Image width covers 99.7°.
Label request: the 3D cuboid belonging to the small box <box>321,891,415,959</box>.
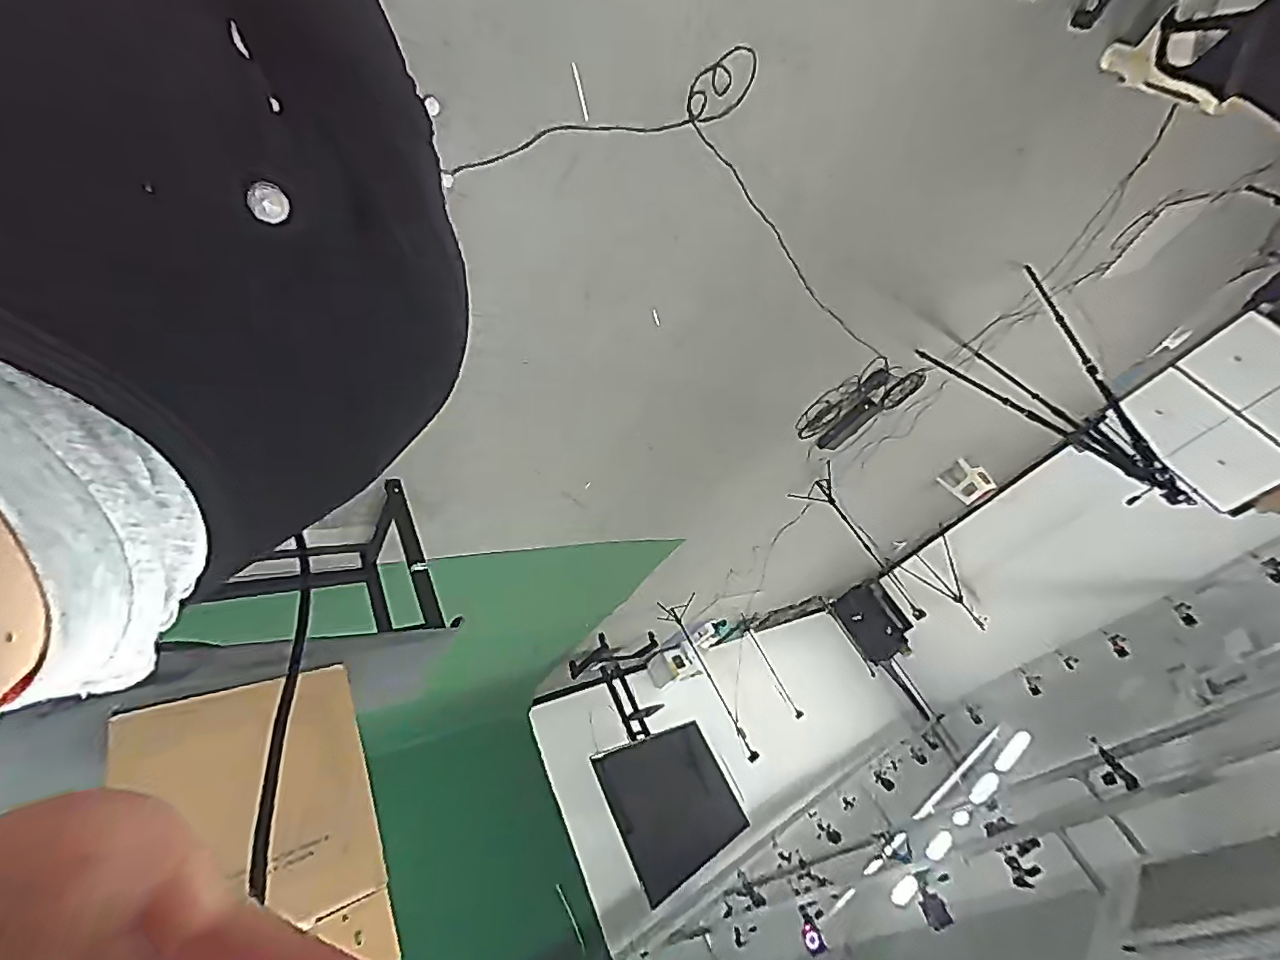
[{"bbox_3d":[-0.701,1.196,1.381,0.168,0.176,0.179,-3,140,-43],"label":"small box"}]
